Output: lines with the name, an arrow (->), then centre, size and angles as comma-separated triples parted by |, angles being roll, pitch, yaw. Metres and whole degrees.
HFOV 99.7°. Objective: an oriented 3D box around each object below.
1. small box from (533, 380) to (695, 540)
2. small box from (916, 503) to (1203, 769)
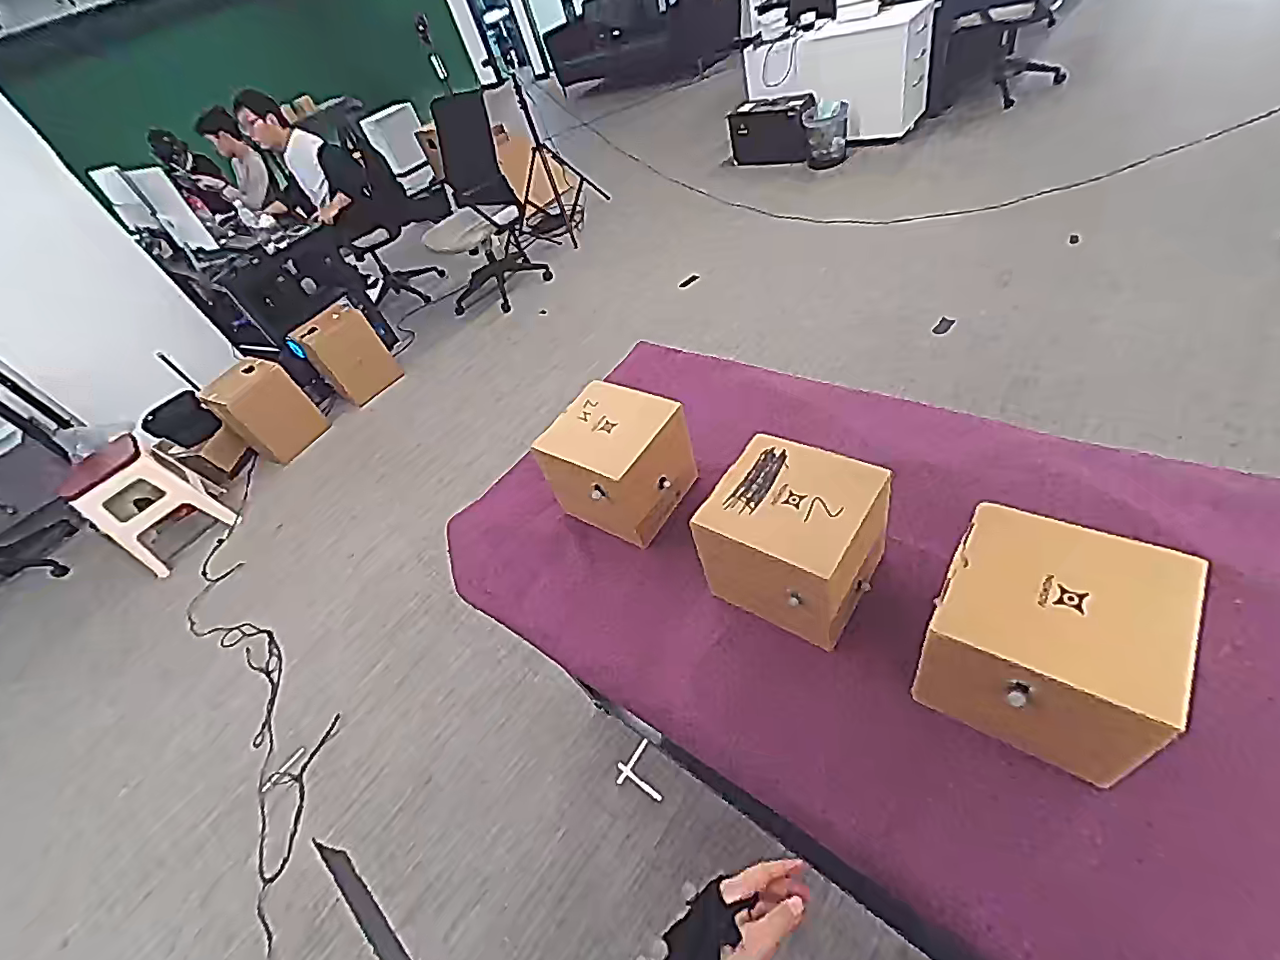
small box -> -0.031, -0.029, 0.865 | 0.179, 0.176, 0.168 | 21, 58, 32
small box -> 0.396, 0.156, 0.537 | 0.179, 0.176, 0.168 | 19, 58, 35
